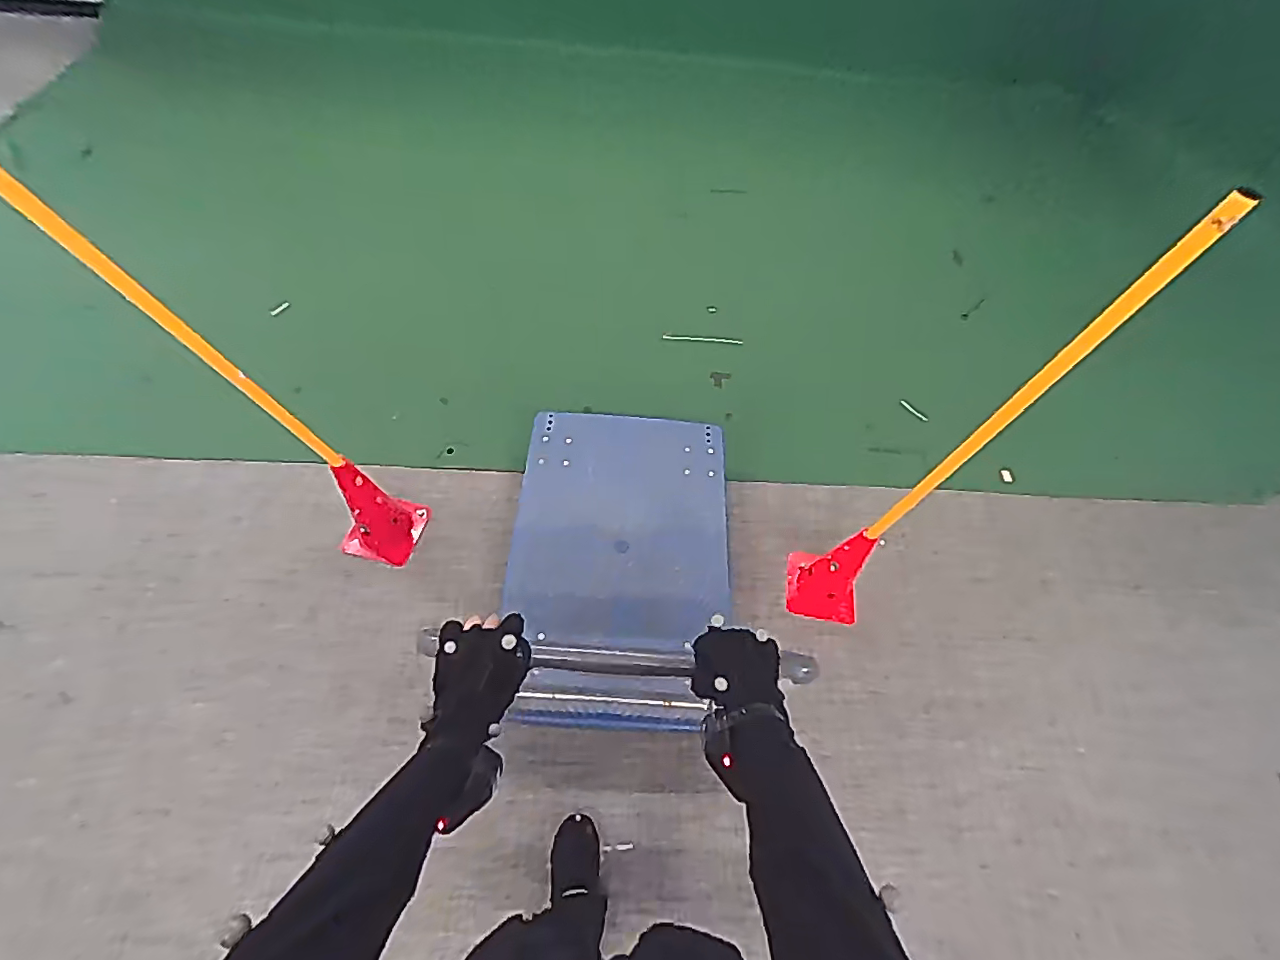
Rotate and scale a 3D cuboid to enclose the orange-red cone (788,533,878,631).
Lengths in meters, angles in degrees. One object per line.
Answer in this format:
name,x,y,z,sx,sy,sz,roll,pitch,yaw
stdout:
orange-red cone,0.544,0.240,1.439,0.198,0.360,0.199,11,58,4
